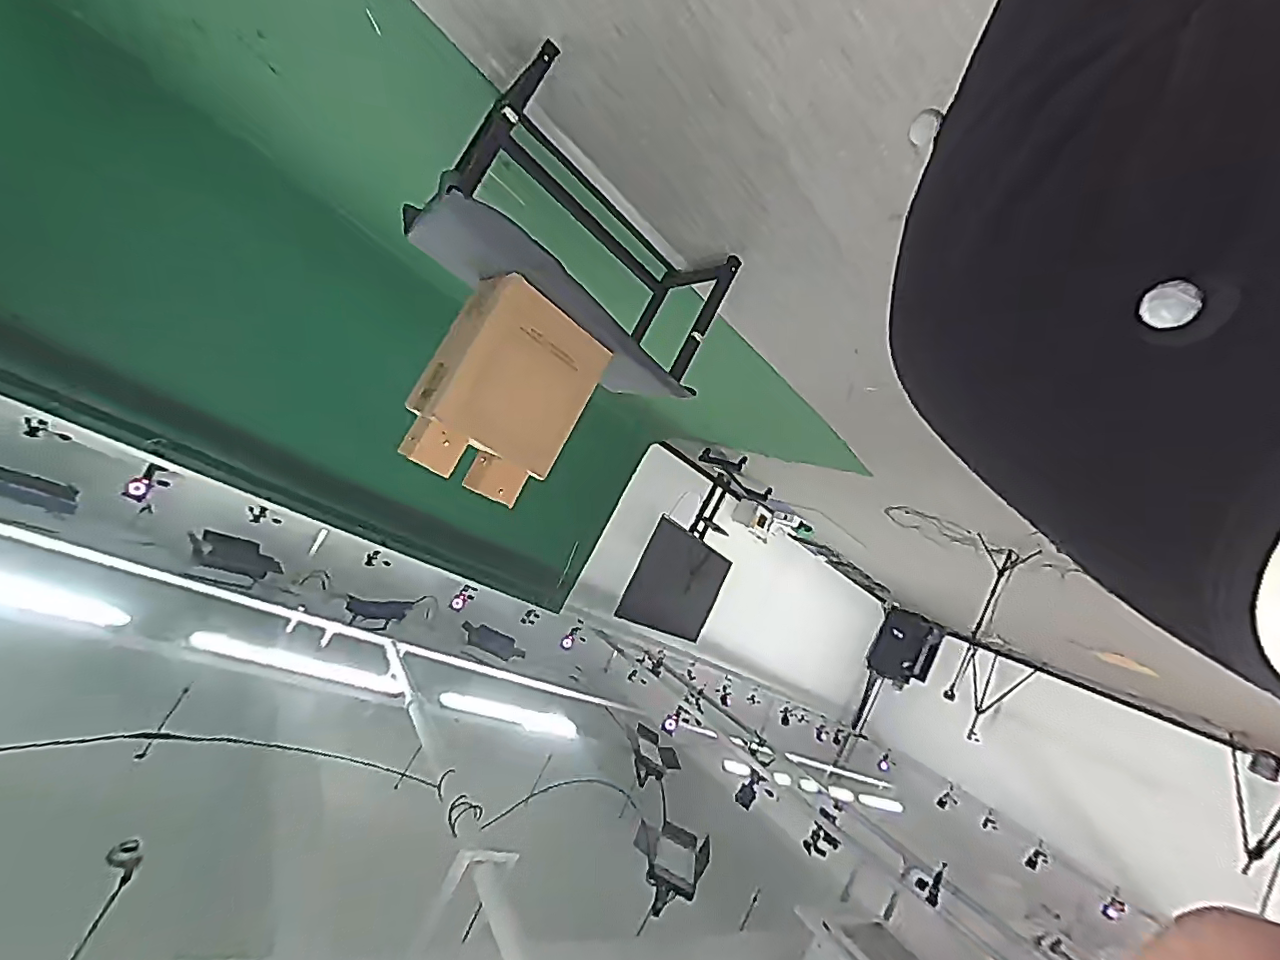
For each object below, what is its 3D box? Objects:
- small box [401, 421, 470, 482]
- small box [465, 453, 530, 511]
[{"bbox_3d":[-0.795,-0.117,2.111,0.168,0.176,0.179,35,167,-39],"label":"small box"},{"bbox_3d":[-0.596,0.007,2.278,0.179,0.176,0.168,35,167,-39],"label":"small box"}]
